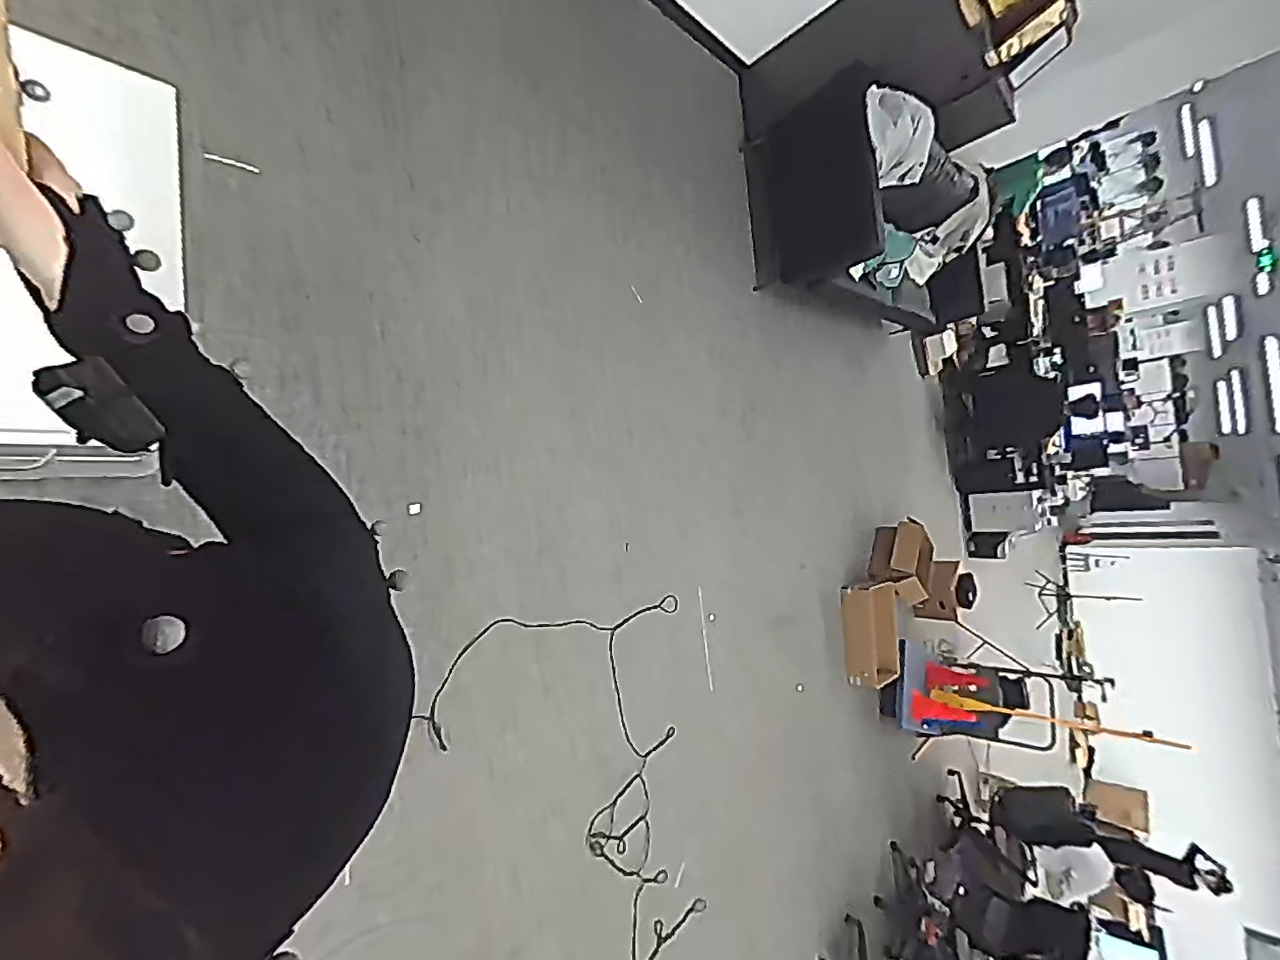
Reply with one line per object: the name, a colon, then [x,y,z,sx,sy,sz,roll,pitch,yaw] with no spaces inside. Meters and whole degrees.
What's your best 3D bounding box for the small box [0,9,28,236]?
small box: [-0.494,-0.259,0.309,0.179,0.176,0.168,-8,96,-47]
